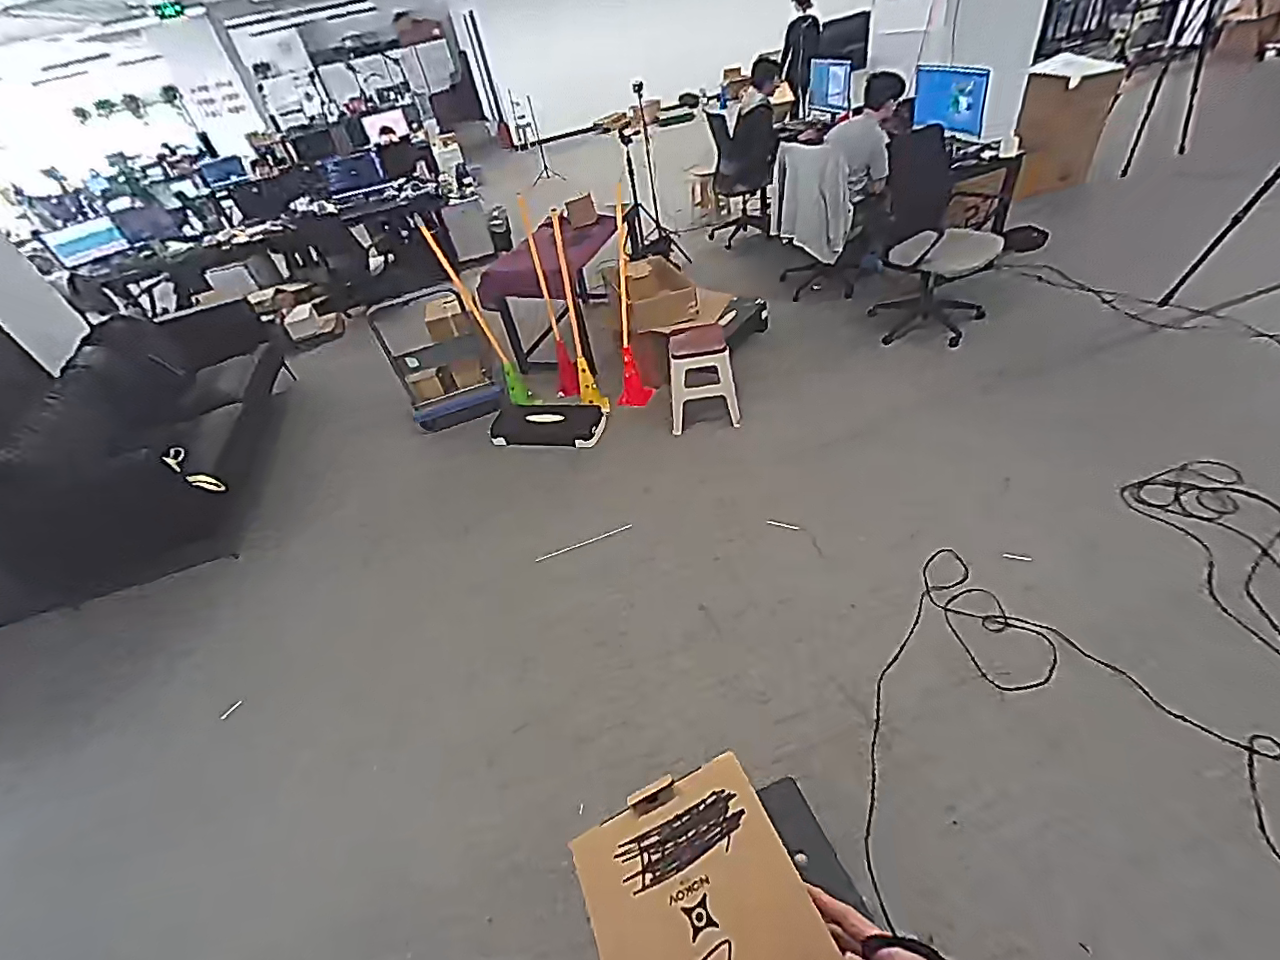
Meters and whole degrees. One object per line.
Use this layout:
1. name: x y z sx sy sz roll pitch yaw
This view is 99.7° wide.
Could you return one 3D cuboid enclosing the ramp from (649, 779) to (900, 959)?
1. ramp: 0.382 1.209 1.187 0.509 0.206 0.991 -22 41 -8
